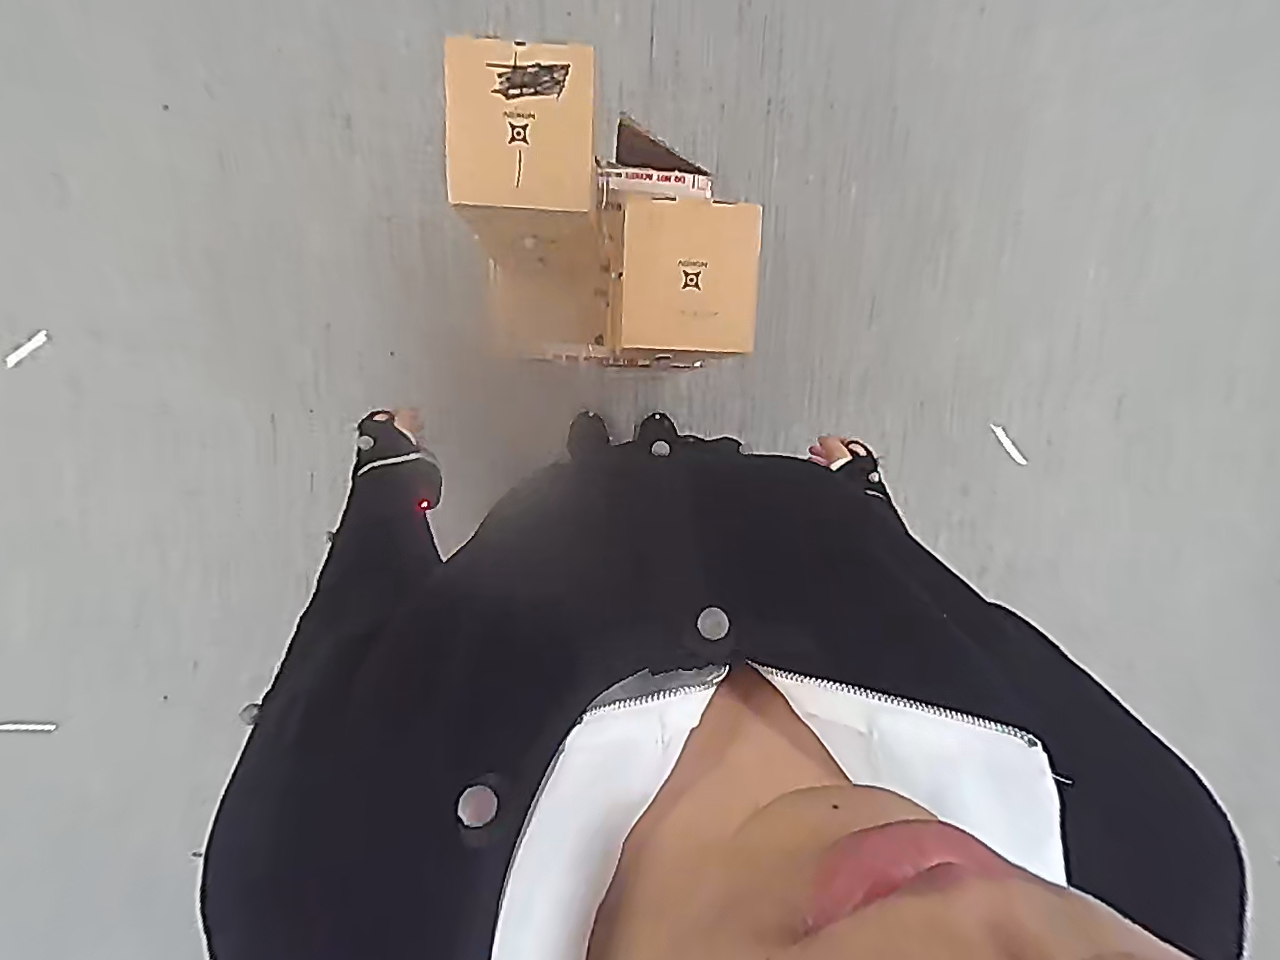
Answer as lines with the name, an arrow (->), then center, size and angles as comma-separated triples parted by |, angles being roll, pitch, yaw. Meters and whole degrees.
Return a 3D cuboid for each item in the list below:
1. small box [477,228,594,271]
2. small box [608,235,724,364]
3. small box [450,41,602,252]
small box -> -0.158, -0.438, 0.848 | 0.168, 0.176, 0.179 | -1, 100, -2
small box -> 0.034, -0.283, 0.887 | 0.168, 0.176, 0.179 | 1, 99, -5
small box -> -0.135, -0.406, 0.688 | 0.168, 0.176, 0.179 | 2, 101, -2
